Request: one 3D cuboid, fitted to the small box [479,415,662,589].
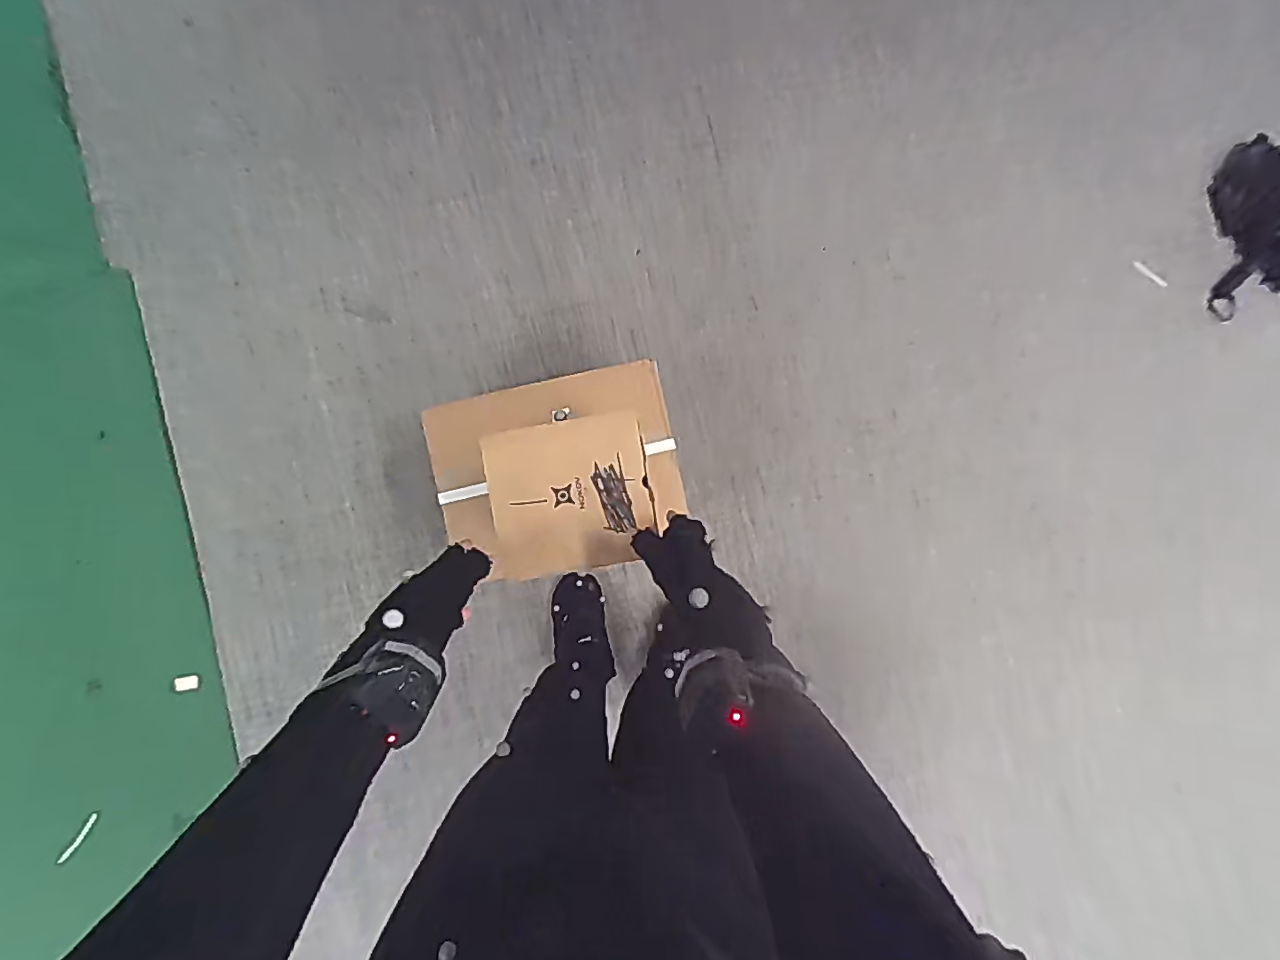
[{"bbox_3d":[-0.079,0.024,0.666,0.179,0.176,0.168,-12,89,-2],"label":"small box"}]
